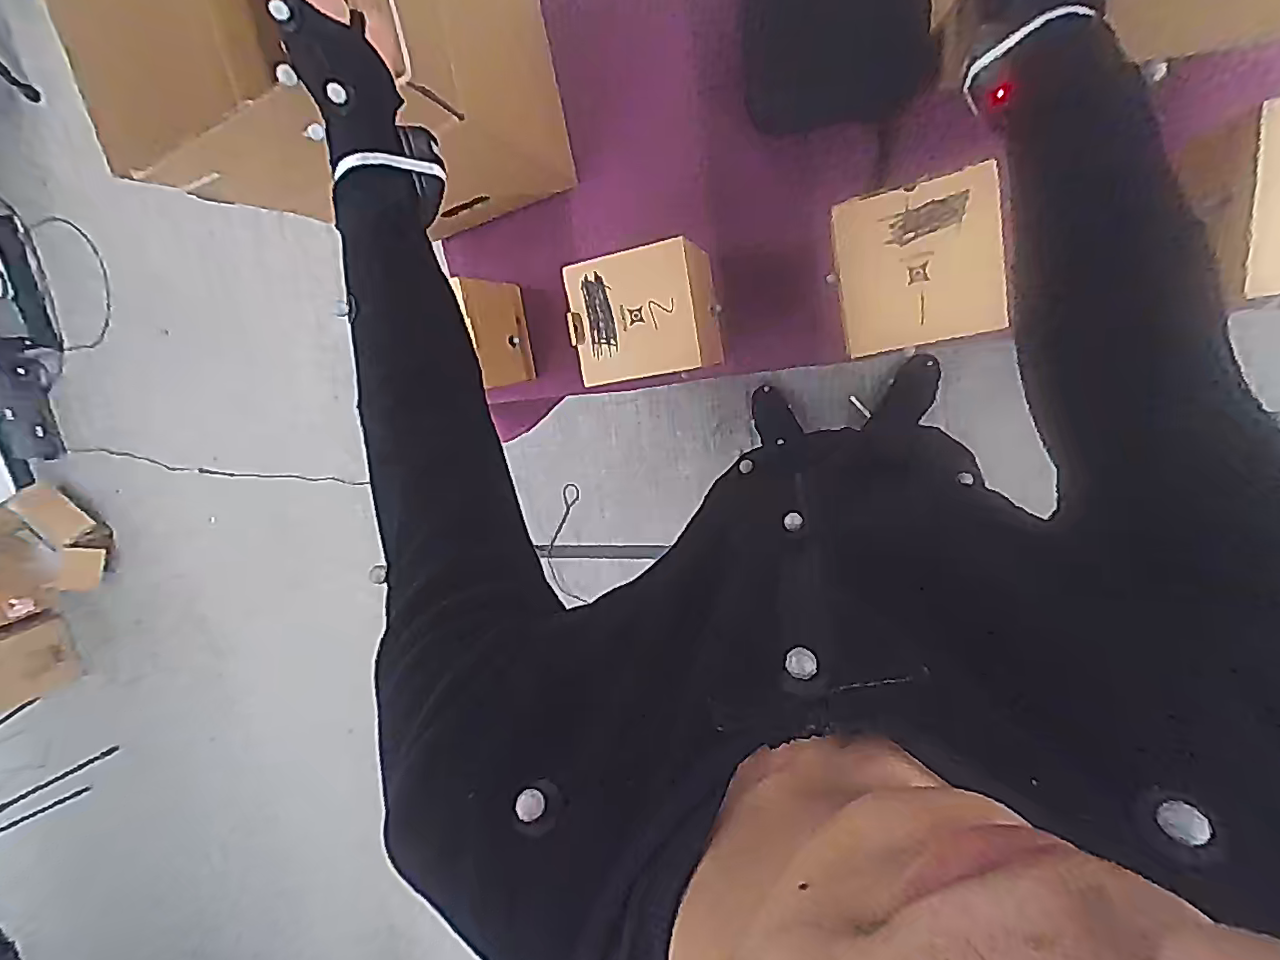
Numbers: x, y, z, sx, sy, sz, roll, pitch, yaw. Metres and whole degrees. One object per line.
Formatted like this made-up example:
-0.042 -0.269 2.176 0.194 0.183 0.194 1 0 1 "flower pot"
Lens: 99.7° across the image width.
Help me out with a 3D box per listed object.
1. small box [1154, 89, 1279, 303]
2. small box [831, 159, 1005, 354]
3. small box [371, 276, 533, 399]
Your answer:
0.670 -0.285 0.549 0.168 0.176 0.179 -2 103 21 "small box"
0.334 -0.262 0.676 0.168 0.176 0.179 -7 103 22 "small box"
-0.308 -0.234 0.911 0.179 0.176 0.168 -5 103 19 "small box"
